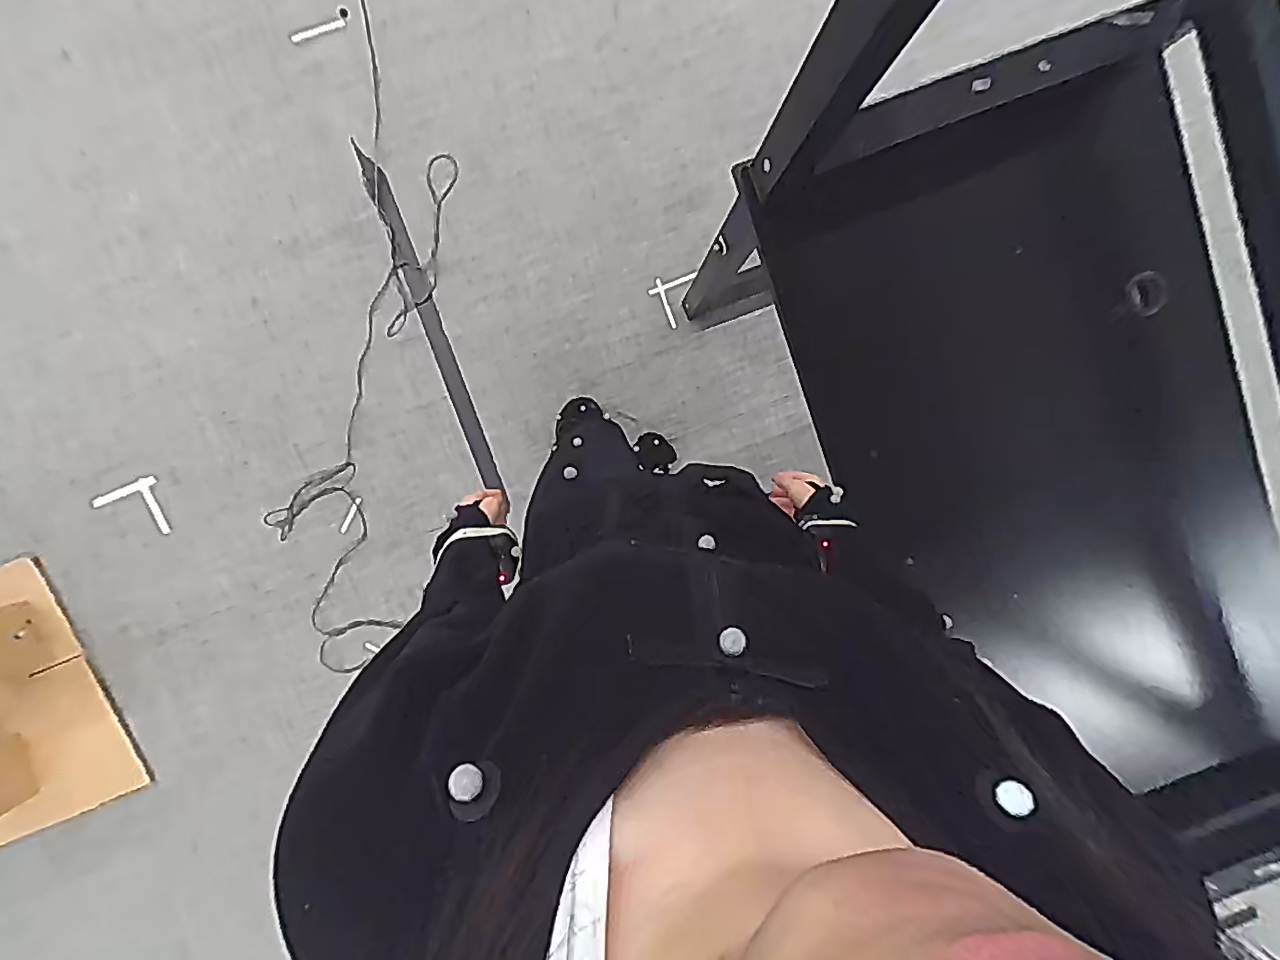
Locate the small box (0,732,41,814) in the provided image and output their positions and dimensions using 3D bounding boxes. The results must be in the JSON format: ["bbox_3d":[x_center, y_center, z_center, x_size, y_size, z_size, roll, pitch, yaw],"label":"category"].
[{"bbox_3d":[-1.719,0.786,1.386,0.168,0.176,0.179,-13,98,-2],"label":"small box"}]
